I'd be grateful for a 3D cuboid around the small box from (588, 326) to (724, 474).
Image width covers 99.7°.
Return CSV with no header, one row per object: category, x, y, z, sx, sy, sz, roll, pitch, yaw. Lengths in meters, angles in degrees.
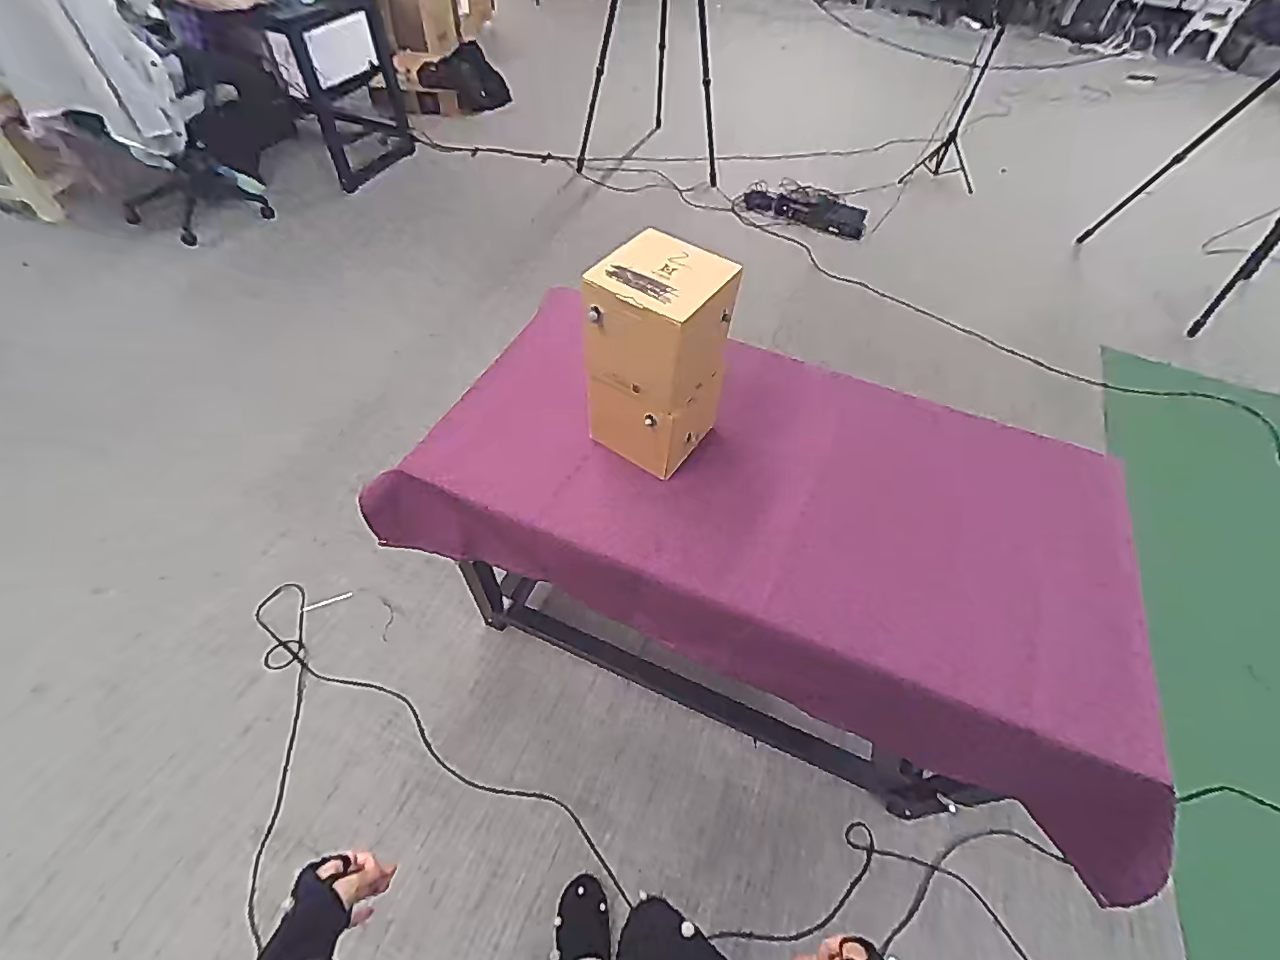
small box,0.023,-0.140,0.970,0.179,0.176,0.168,30,56,18
